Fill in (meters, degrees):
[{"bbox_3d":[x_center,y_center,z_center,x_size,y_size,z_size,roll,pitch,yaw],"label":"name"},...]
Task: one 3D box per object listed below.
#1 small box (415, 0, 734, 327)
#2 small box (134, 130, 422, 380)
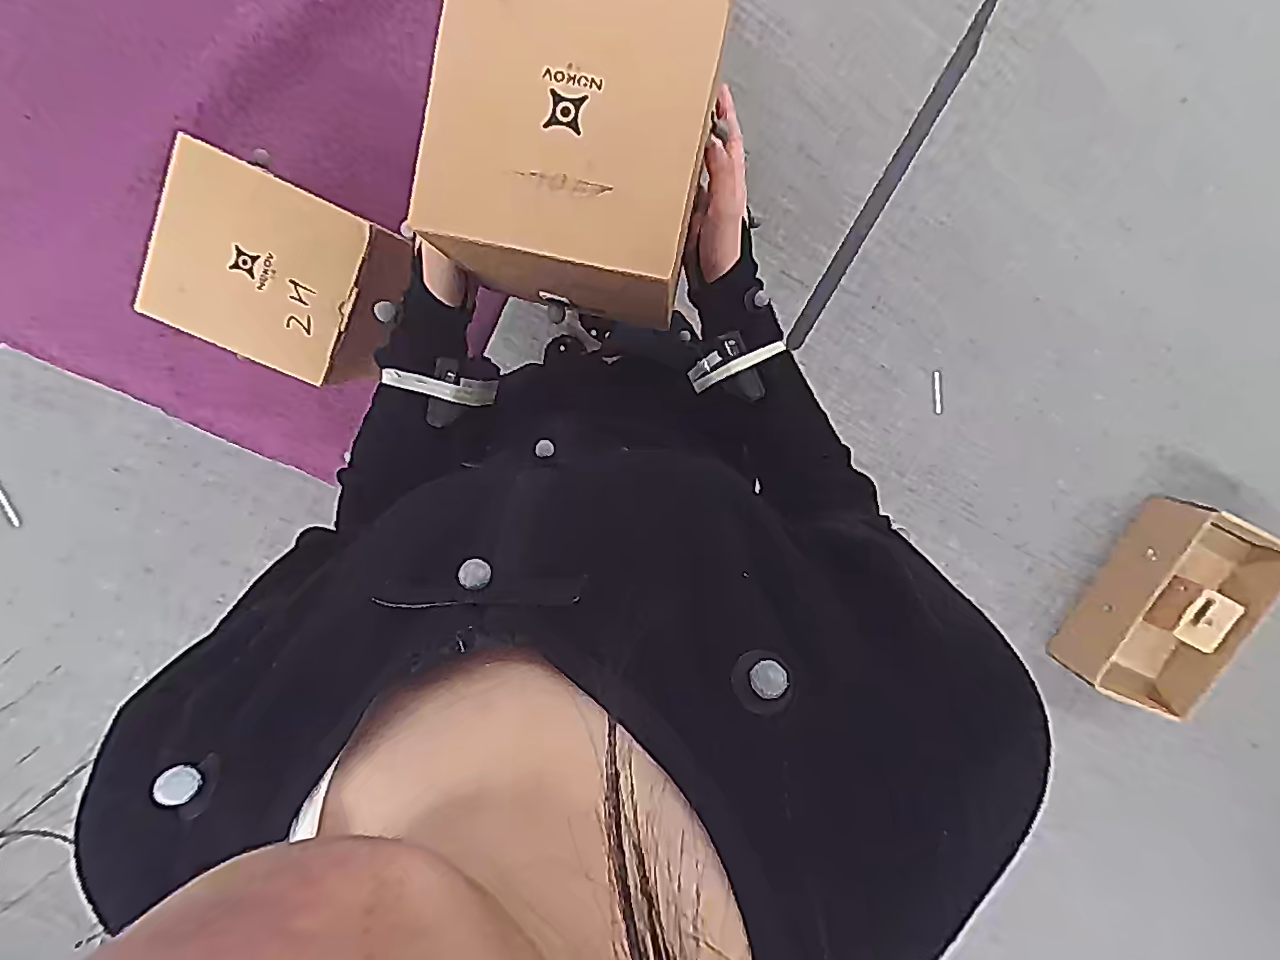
[{"bbox_3d":[-0.039,-0.230,0.402,0.168,0.176,0.179,12,96,2],"label":"small box"},{"bbox_3d":[-0.364,-0.221,0.578,0.179,0.176,0.168,24,102,-12],"label":"small box"}]
